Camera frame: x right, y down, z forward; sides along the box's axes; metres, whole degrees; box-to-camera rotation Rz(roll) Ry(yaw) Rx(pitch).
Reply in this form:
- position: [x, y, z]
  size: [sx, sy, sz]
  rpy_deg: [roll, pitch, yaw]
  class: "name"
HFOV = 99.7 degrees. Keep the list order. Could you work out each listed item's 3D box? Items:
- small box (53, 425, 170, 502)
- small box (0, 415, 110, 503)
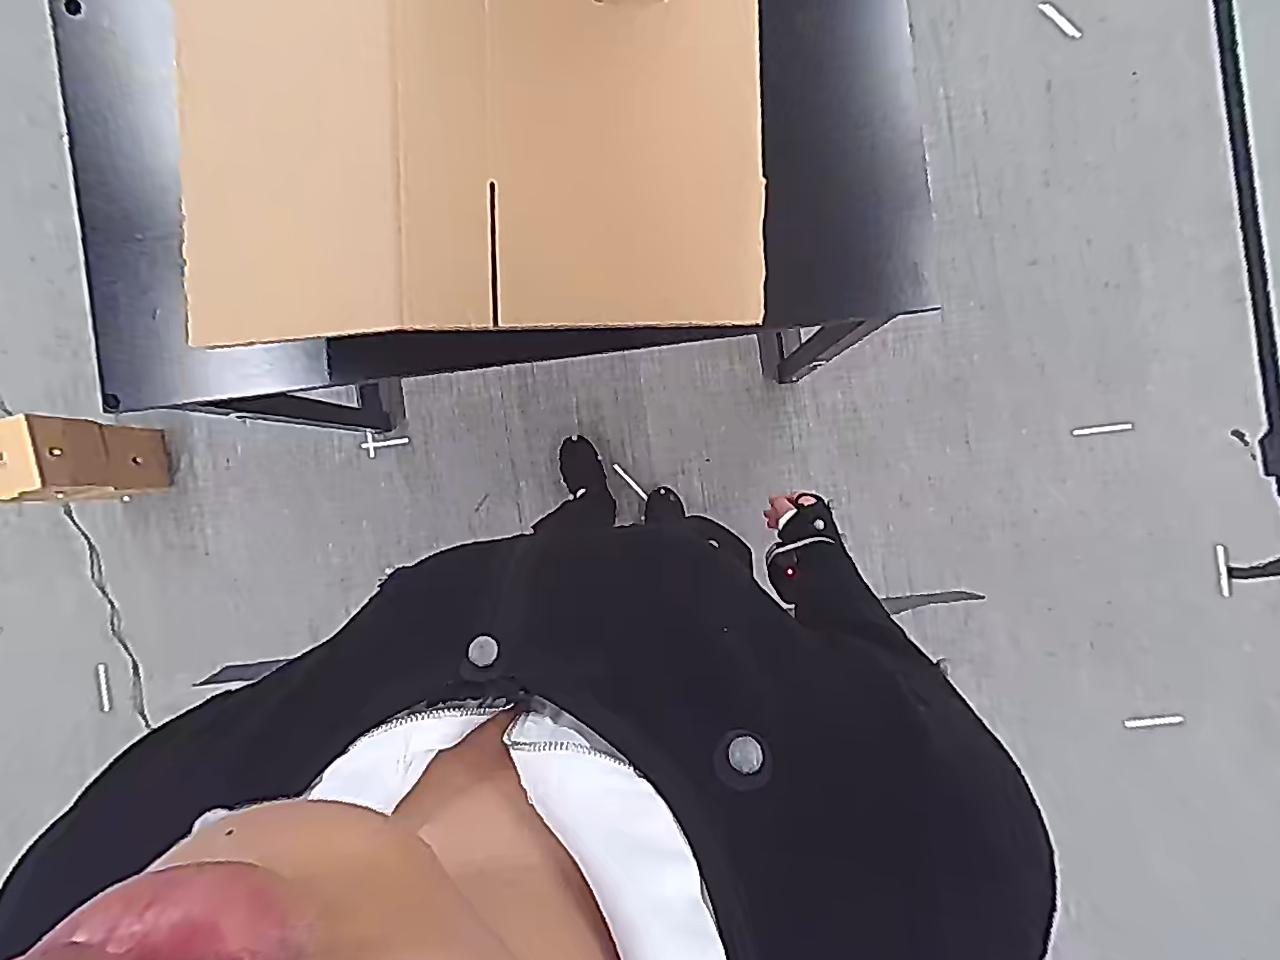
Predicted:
- position: [-1.427, -0.042, 1.456]
  size: [0.168, 0.176, 0.179]
  rpy_deg: [-11, 91, 2]
  class: "small box"
- position: [-1.434, -0.046, 1.293]
  size: [0.168, 0.176, 0.179]
  rpy_deg: [-13, 90, 1]
  class: "small box"
